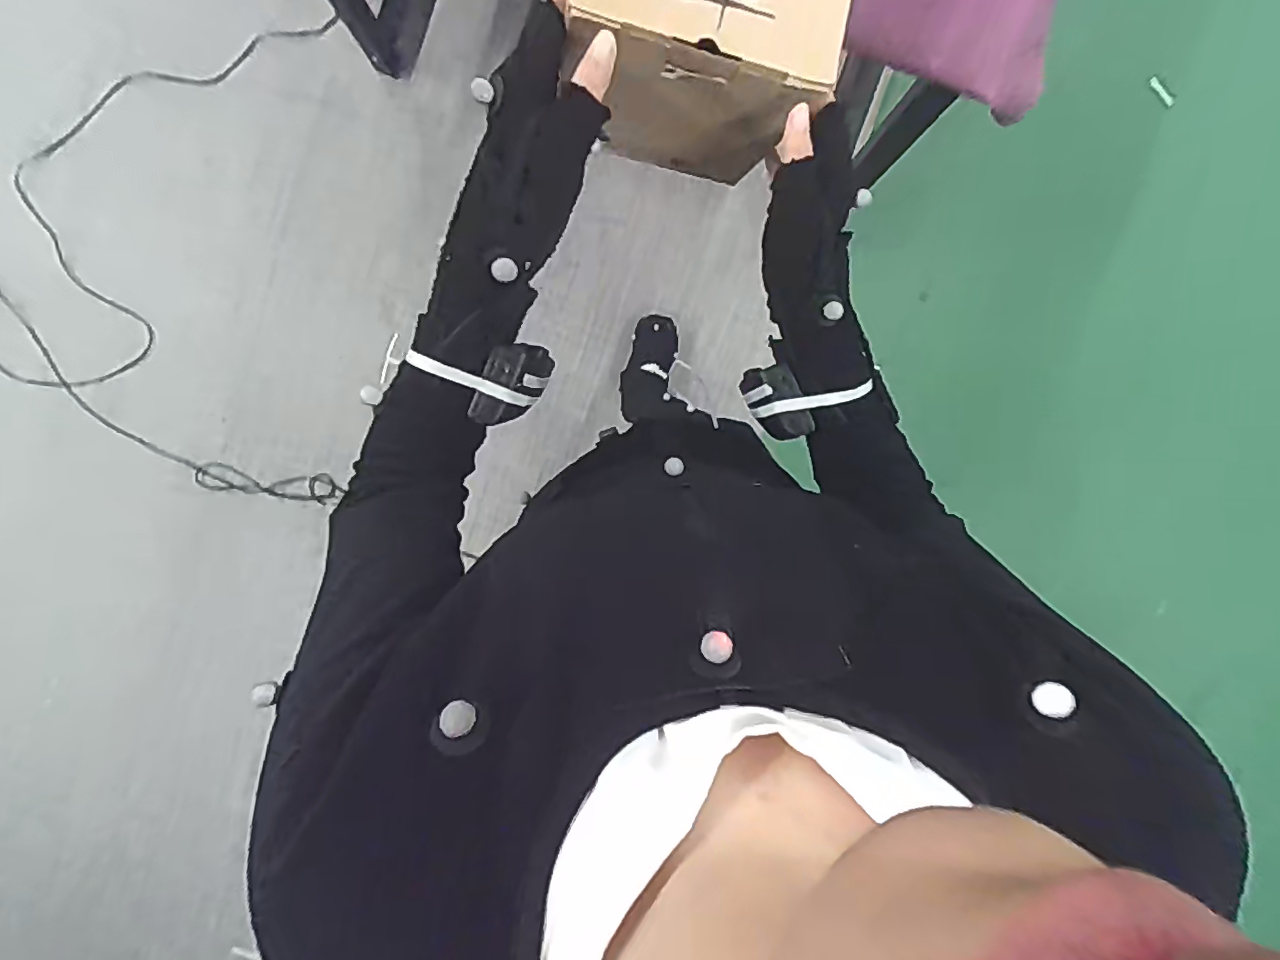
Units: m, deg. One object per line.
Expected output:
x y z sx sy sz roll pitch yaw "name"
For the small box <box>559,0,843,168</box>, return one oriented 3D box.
0.035 -0.353 0.381 0.168 0.176 0.179 7 99 -13 "small box"
